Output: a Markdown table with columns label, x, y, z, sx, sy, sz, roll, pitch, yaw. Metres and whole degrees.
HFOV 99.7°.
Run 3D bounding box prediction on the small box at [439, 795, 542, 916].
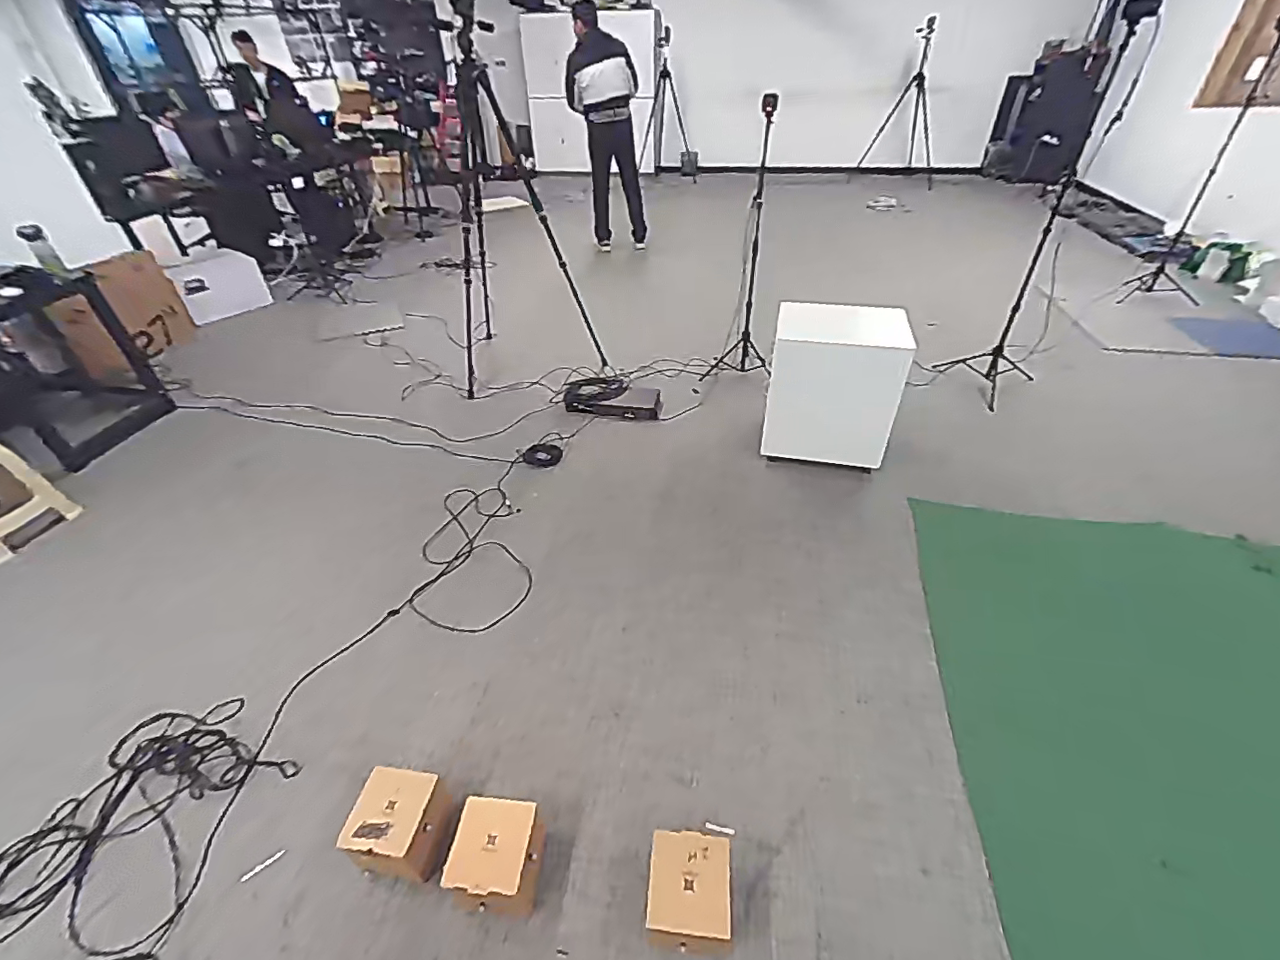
| label | x | y | z | sx | sy | sz | roll | pitch | yaw |
| --- | --- | --- | --- | --- | --- | --- | --- | --- | --- |
| small box | -0.324 | 0.843 | 1.216 | 0.168 | 0.176 | 0.179 | 2 | 40 | 5 |

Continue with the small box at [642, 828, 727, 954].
| label | x | y | z | sx | sy | sz | roll | pitch | yaw |
| --- | --- | --- | --- | --- | --- | --- | --- | --- | --- |
| small box | 0.097 | 0.880 | 1.154 | 0.168 | 0.176 | 0.179 | 4 | 40 | 5 |

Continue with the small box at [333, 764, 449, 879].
| label | x | y | z | sx | sy | sz | roll | pitch | yaw |
| --- | --- | --- | --- | --- | --- | --- | --- | --- | --- |
| small box | -0.570 | 0.804 | 1.270 | 0.168 | 0.176 | 0.179 | 4 | 39 | 7 |
